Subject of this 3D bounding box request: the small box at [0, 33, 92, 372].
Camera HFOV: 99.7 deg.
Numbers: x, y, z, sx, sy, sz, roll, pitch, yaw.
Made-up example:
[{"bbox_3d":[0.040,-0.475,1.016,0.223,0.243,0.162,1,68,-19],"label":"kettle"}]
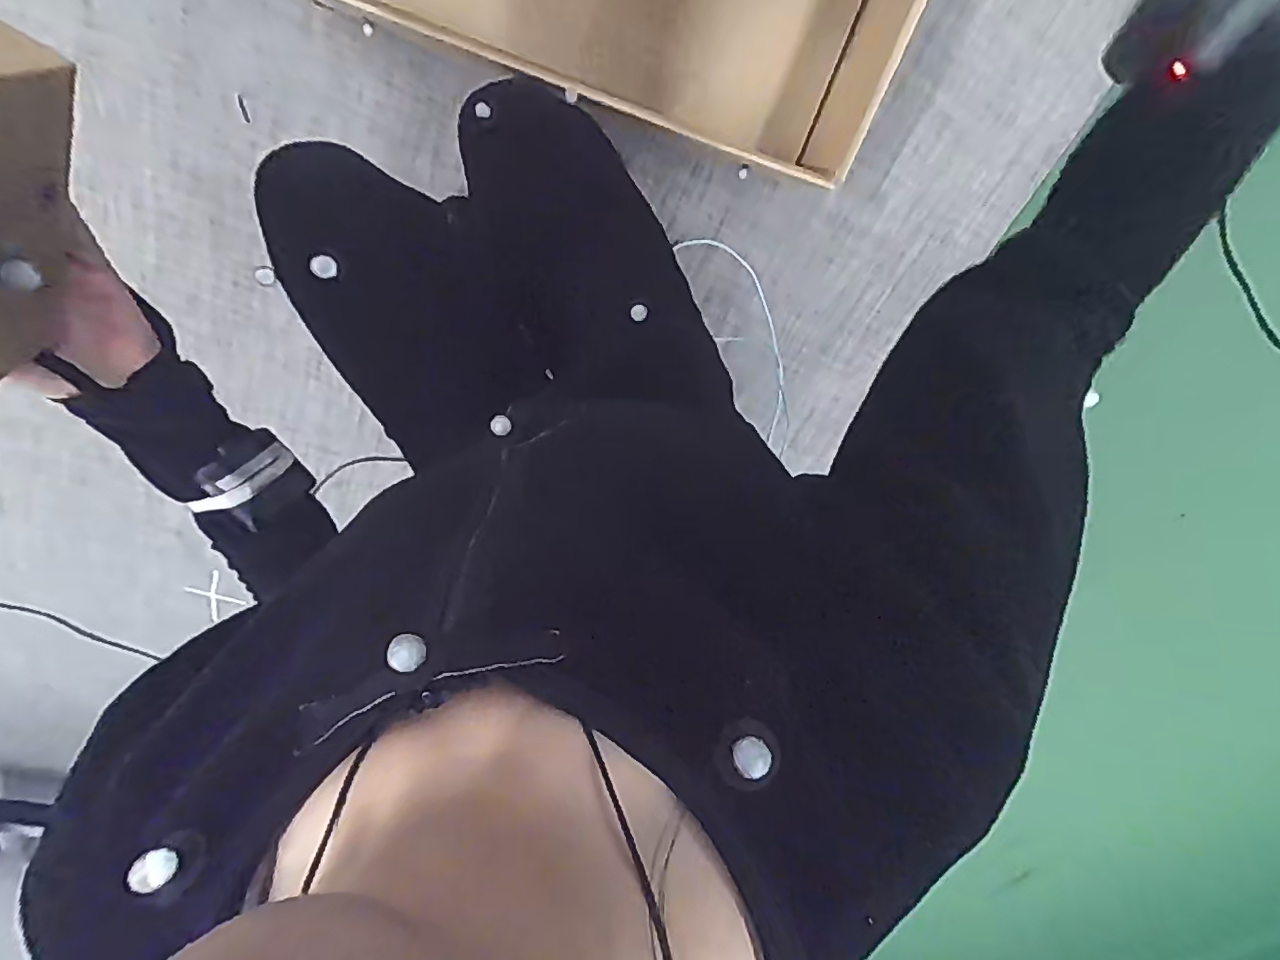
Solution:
[{"bbox_3d":[-0.365,-0.114,0.195,0.179,0.176,0.168,25,126,-29],"label":"small box"}]
